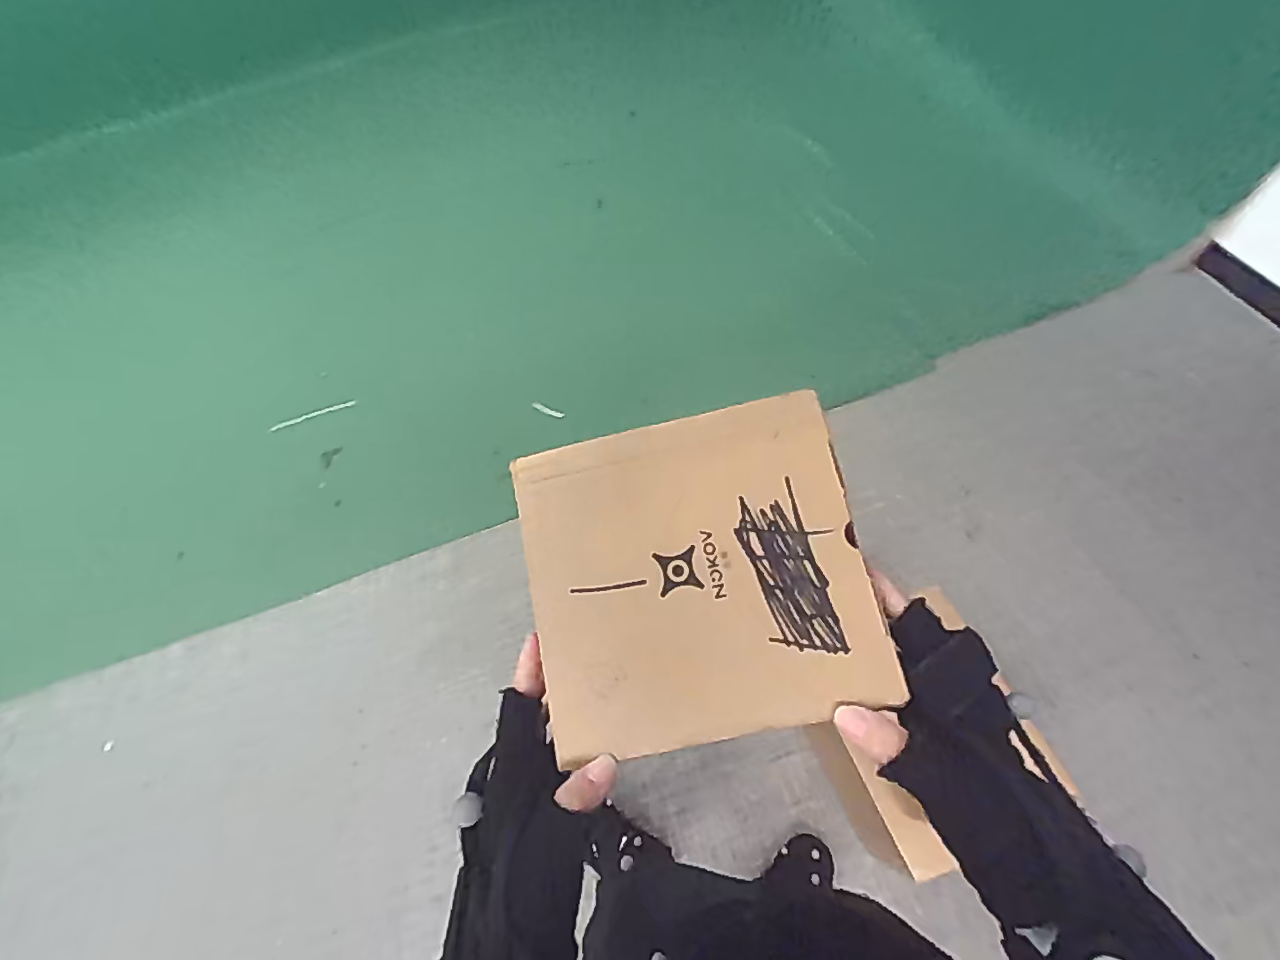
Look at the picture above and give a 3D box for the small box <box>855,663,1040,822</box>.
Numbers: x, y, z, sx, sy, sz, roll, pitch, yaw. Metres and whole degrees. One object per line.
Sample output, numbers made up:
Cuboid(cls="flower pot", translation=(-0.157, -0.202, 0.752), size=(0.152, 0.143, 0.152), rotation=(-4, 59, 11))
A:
Cuboid(cls="small box", translation=(0.468, 0.414, 0.861), size=(0.168, 0.176, 0.179), rotation=(-20, 63, -1))
